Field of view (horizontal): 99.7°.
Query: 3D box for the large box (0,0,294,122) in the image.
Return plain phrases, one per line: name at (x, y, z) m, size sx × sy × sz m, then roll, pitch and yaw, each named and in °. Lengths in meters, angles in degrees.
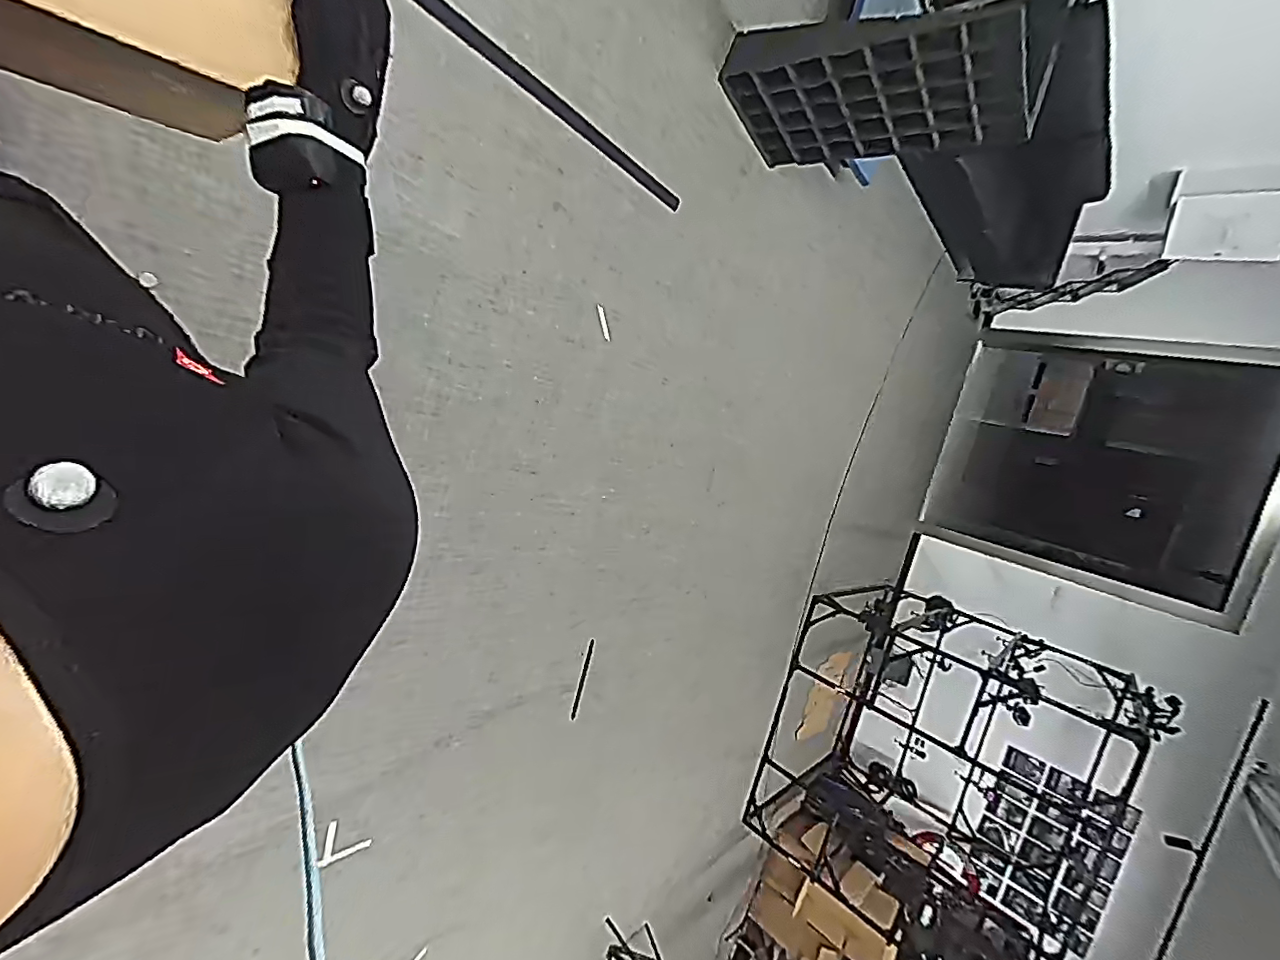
large box at (-0.491, -0.490, 0.342) m, size 0.408 × 0.320 × 0.320 m, roll -4°, pitch 113°, yaw -48°
